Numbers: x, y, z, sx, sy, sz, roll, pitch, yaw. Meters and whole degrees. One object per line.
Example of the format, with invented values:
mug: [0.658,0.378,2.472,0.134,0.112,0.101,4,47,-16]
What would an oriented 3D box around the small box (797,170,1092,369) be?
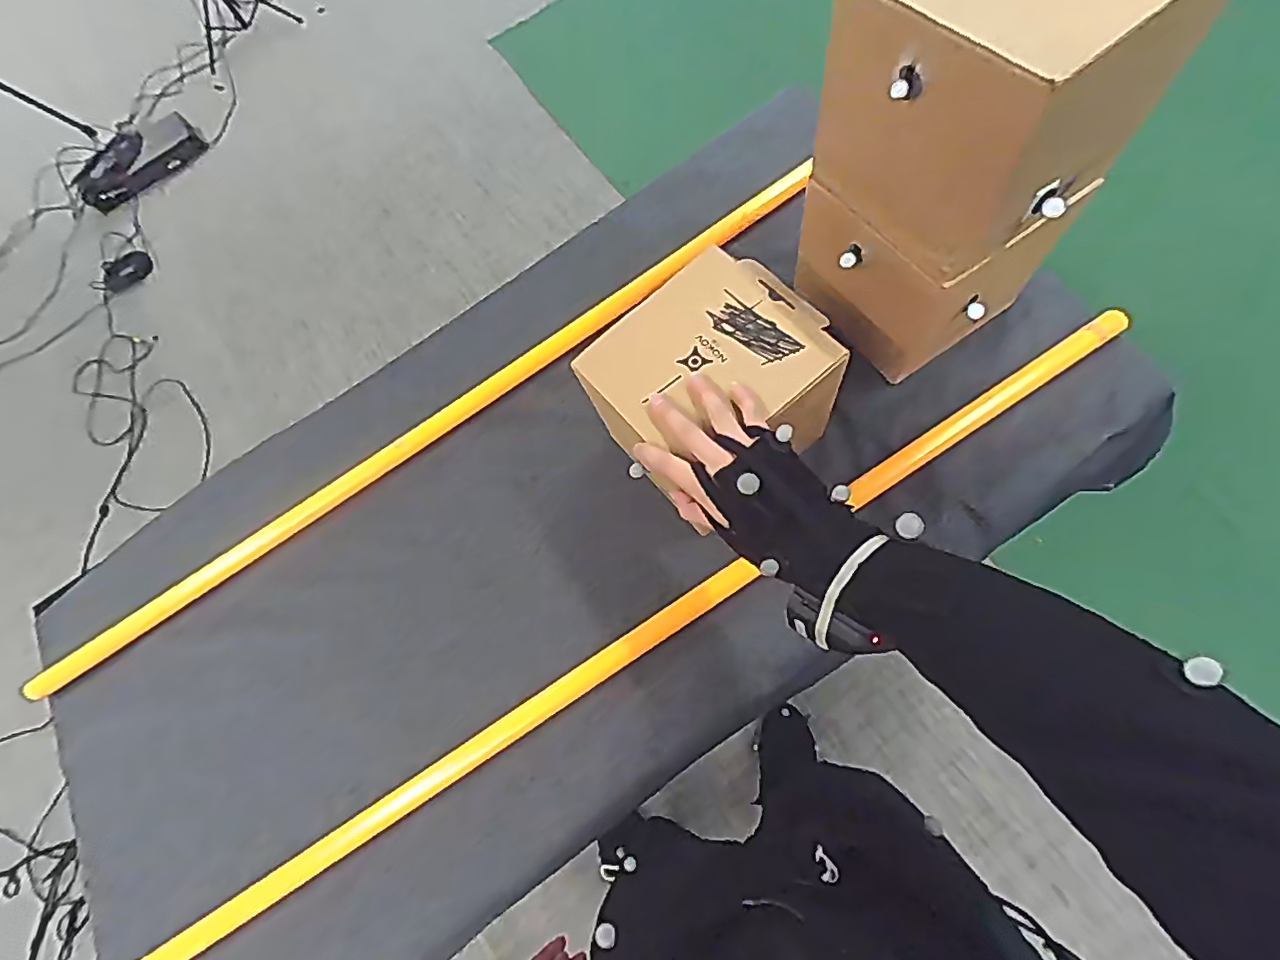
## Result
small box: [0.283,-0.239,0.553,0.168,0.176,0.179,-34,67,-2]

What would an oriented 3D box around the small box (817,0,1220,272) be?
small box: [0.255,-0.298,0.404,0.168,0.176,0.179,-37,68,-2]

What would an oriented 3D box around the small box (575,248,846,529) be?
small box: [0.068,-0.079,0.536,0.179,0.176,0.168,-40,68,-4]
